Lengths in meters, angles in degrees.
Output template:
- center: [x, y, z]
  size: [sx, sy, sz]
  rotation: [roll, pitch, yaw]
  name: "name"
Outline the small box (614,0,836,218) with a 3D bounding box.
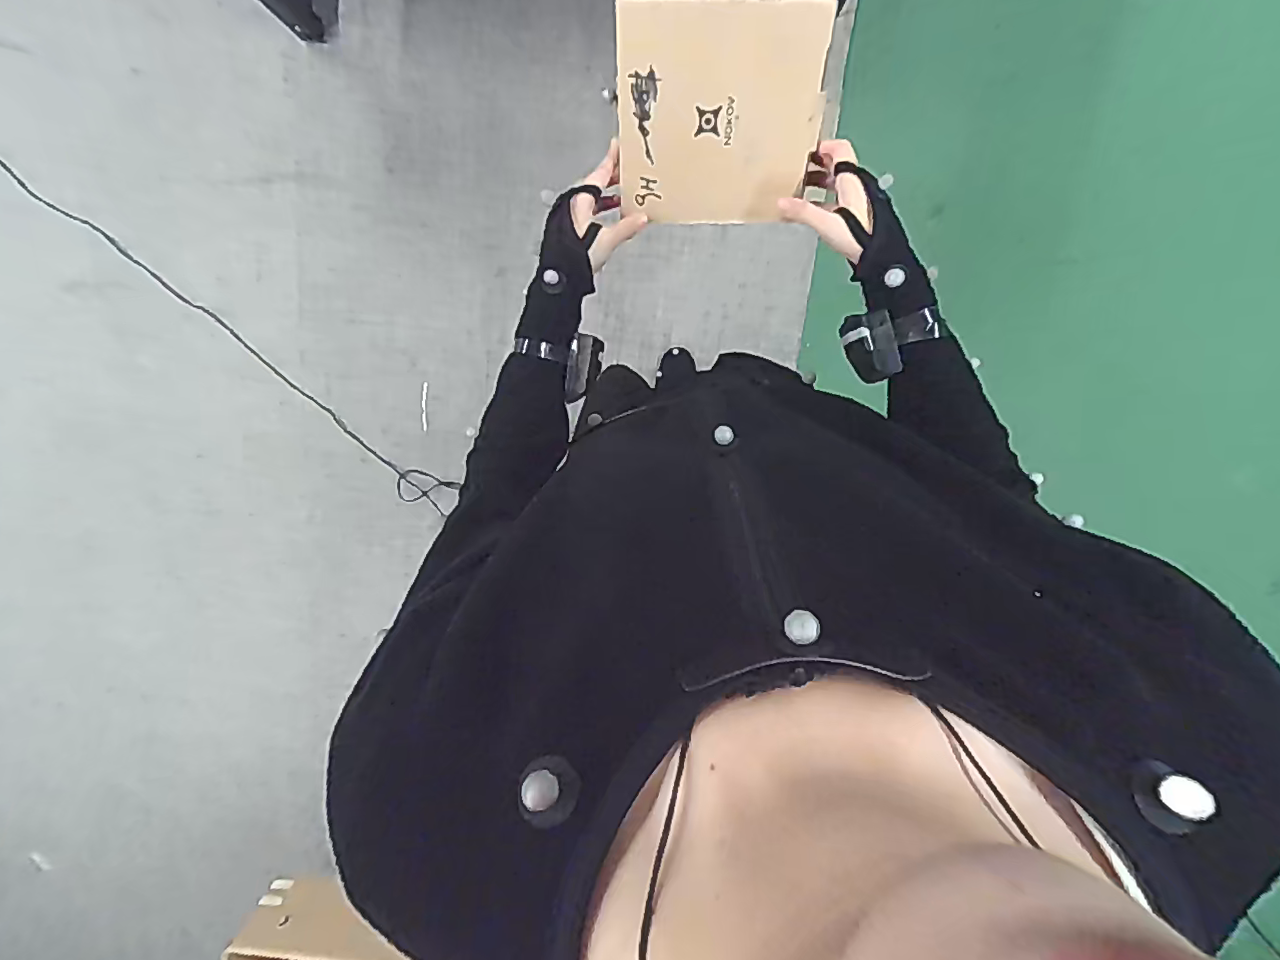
- center: [0.064, -0.365, 0.527]
  size: [0.179, 0.176, 0.168]
  rotation: [0, 128, 0]
  name: "small box"
